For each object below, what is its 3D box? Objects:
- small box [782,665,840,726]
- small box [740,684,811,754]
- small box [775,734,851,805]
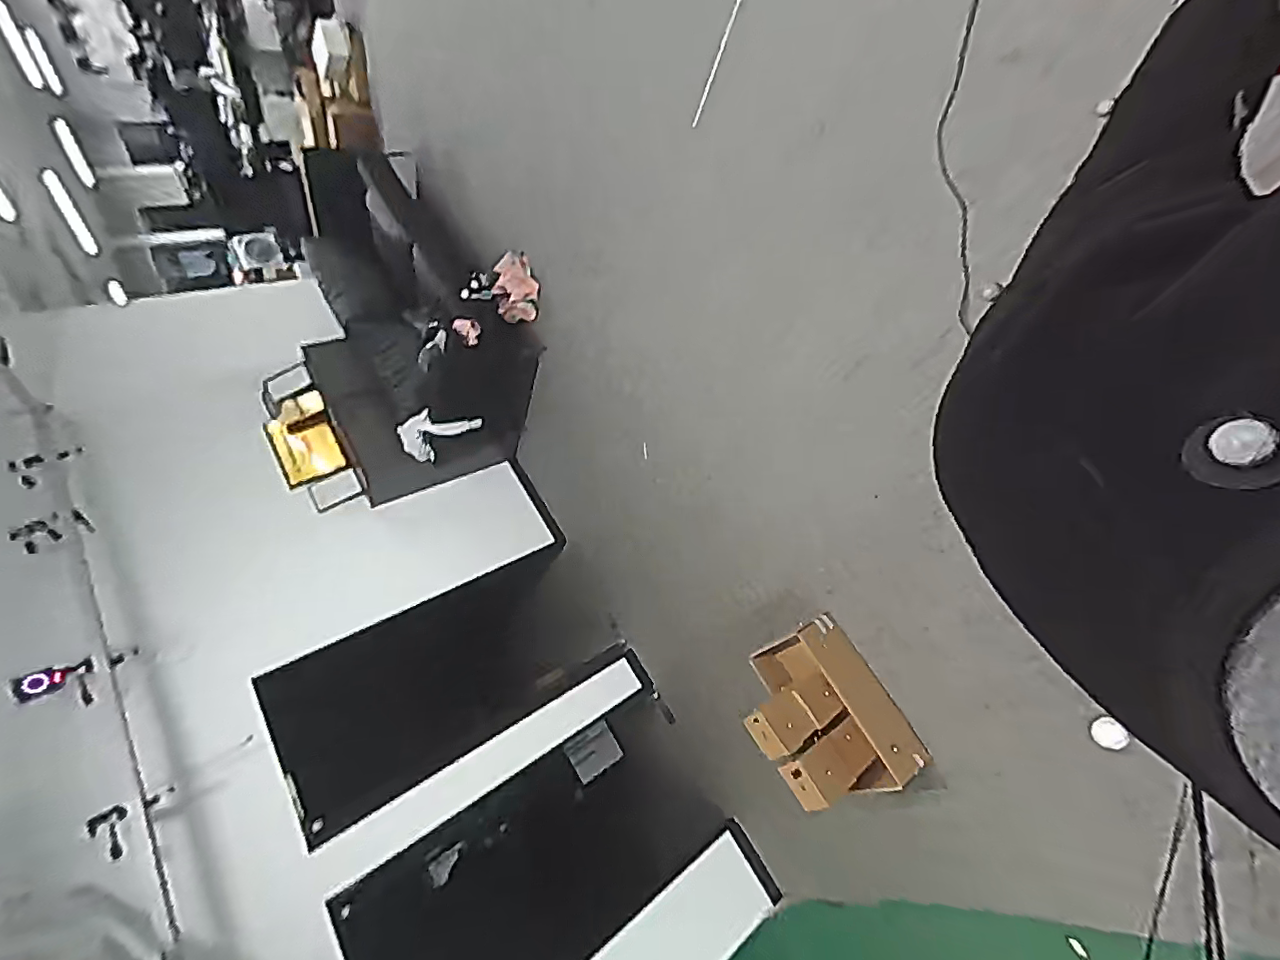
[{"bbox_3d":[0.676,0.881,2.200,0.168,0.176,0.179,55,146,16],"label":"small box"},{"bbox_3d":[0.537,0.939,2.130,0.179,0.176,0.168,53,146,19],"label":"small box"},{"bbox_3d":[0.654,1.087,2.046,0.179,0.176,0.168,55,145,20],"label":"small box"}]
